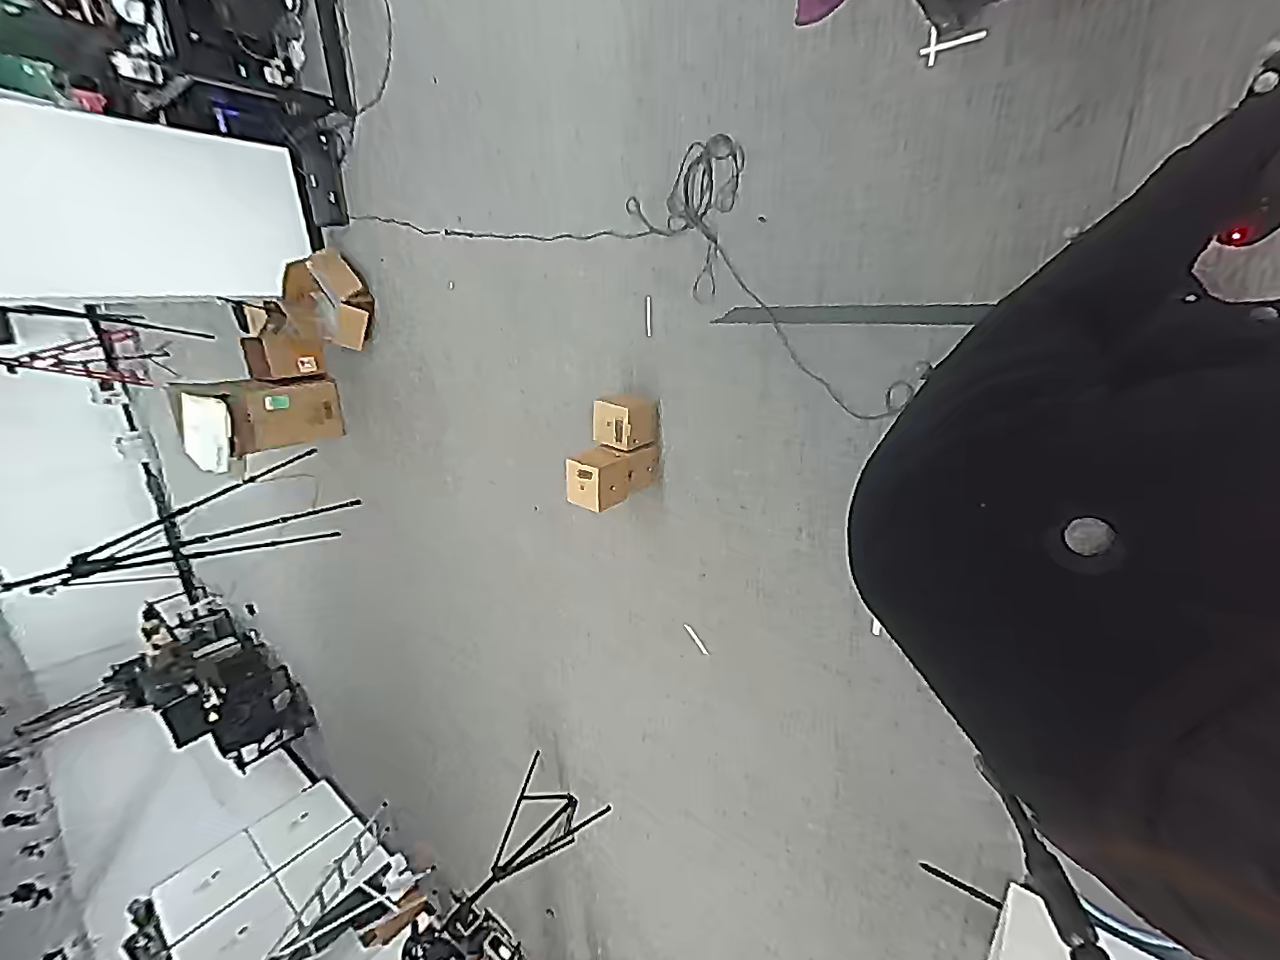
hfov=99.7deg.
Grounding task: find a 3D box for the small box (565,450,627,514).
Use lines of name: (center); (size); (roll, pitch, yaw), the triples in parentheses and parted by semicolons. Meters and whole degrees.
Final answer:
small box: (-0.162, -0.001, 2.014); (0.168, 0.176, 0.179); (18, 118, 35)
